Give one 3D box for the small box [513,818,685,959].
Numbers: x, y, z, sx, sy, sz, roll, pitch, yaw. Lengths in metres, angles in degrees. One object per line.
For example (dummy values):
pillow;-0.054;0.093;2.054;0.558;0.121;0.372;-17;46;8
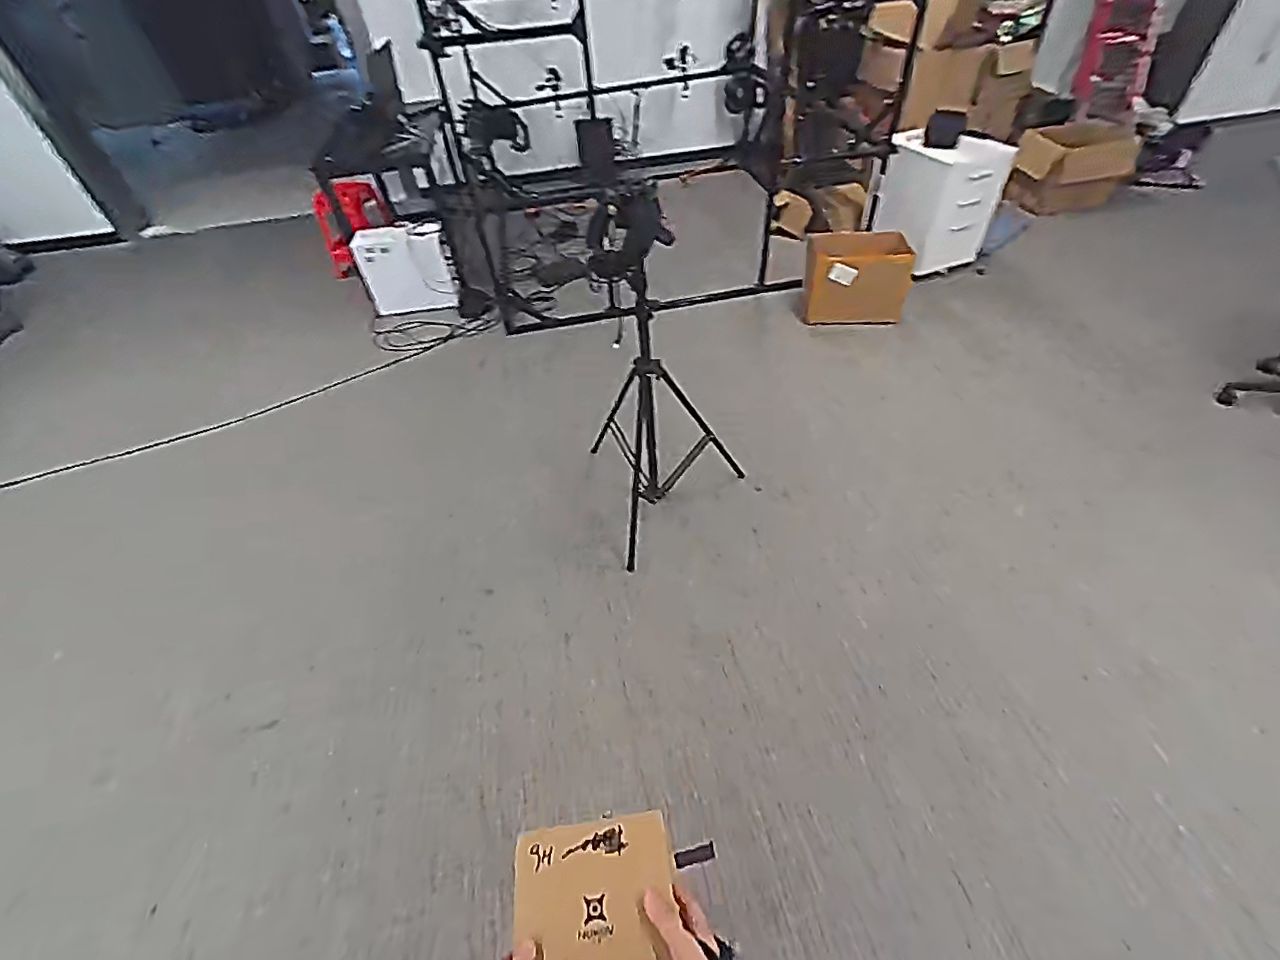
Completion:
small box;-0.038;0.501;0.600;0.168;0.176;0.179;-8;47;-2
